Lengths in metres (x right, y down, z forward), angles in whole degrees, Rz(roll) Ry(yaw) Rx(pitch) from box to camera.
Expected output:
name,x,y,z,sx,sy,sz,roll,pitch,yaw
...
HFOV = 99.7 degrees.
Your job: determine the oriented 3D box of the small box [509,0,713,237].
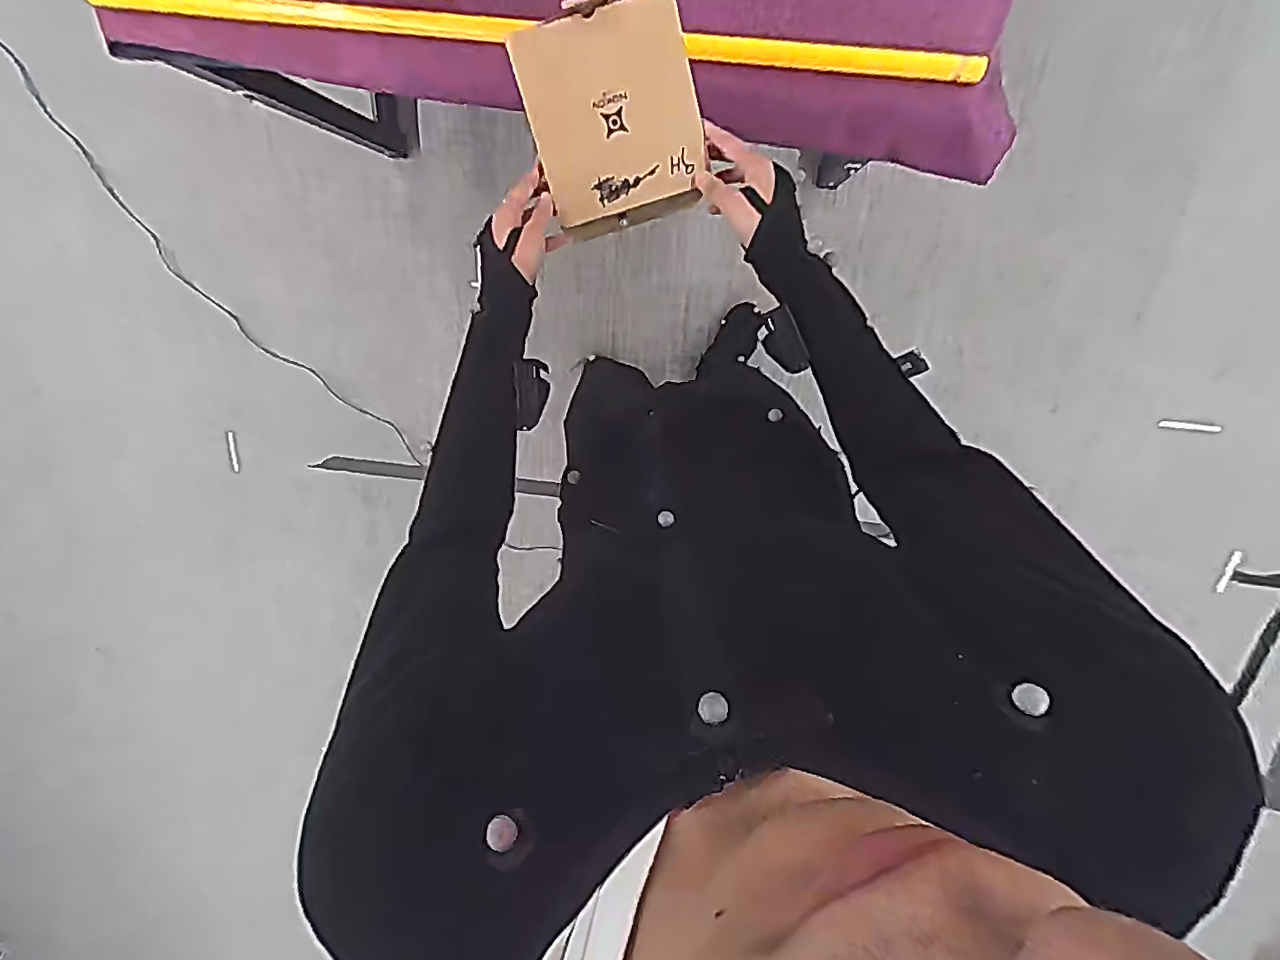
name,x,y,z,sx,sy,sz,roll,pitch,yaw
small box,-0.027,-0.389,0.600,0.168,0.176,0.179,-15,109,4
